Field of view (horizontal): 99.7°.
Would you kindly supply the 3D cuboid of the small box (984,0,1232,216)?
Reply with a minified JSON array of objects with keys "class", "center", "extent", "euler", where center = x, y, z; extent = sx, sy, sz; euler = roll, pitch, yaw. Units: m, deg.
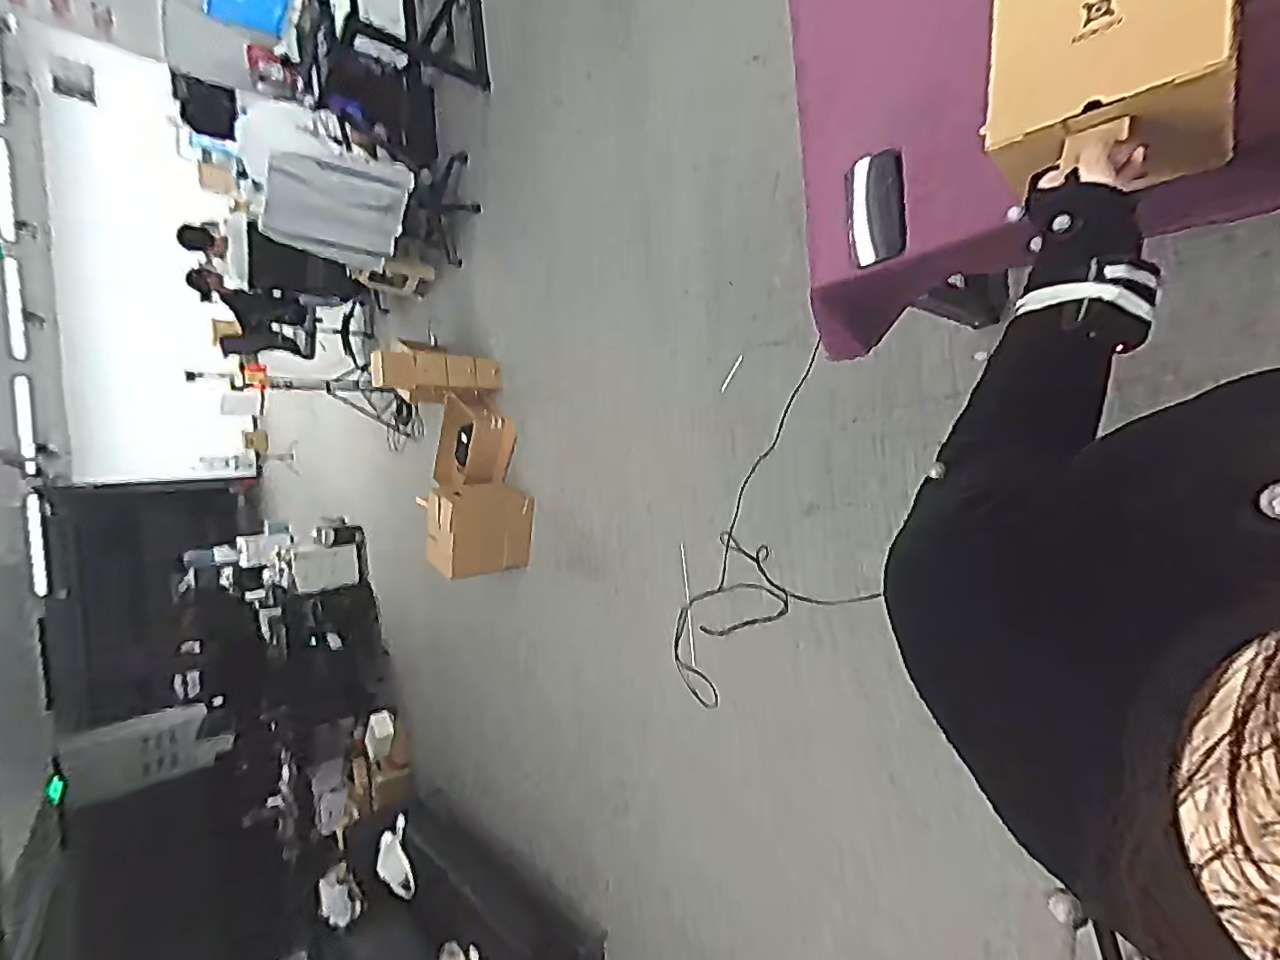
[{"class":"small box","center":[0.463,-0.400,0.536],"extent":[0.168,0.176,0.179],"euler":[3,88,46]}]
